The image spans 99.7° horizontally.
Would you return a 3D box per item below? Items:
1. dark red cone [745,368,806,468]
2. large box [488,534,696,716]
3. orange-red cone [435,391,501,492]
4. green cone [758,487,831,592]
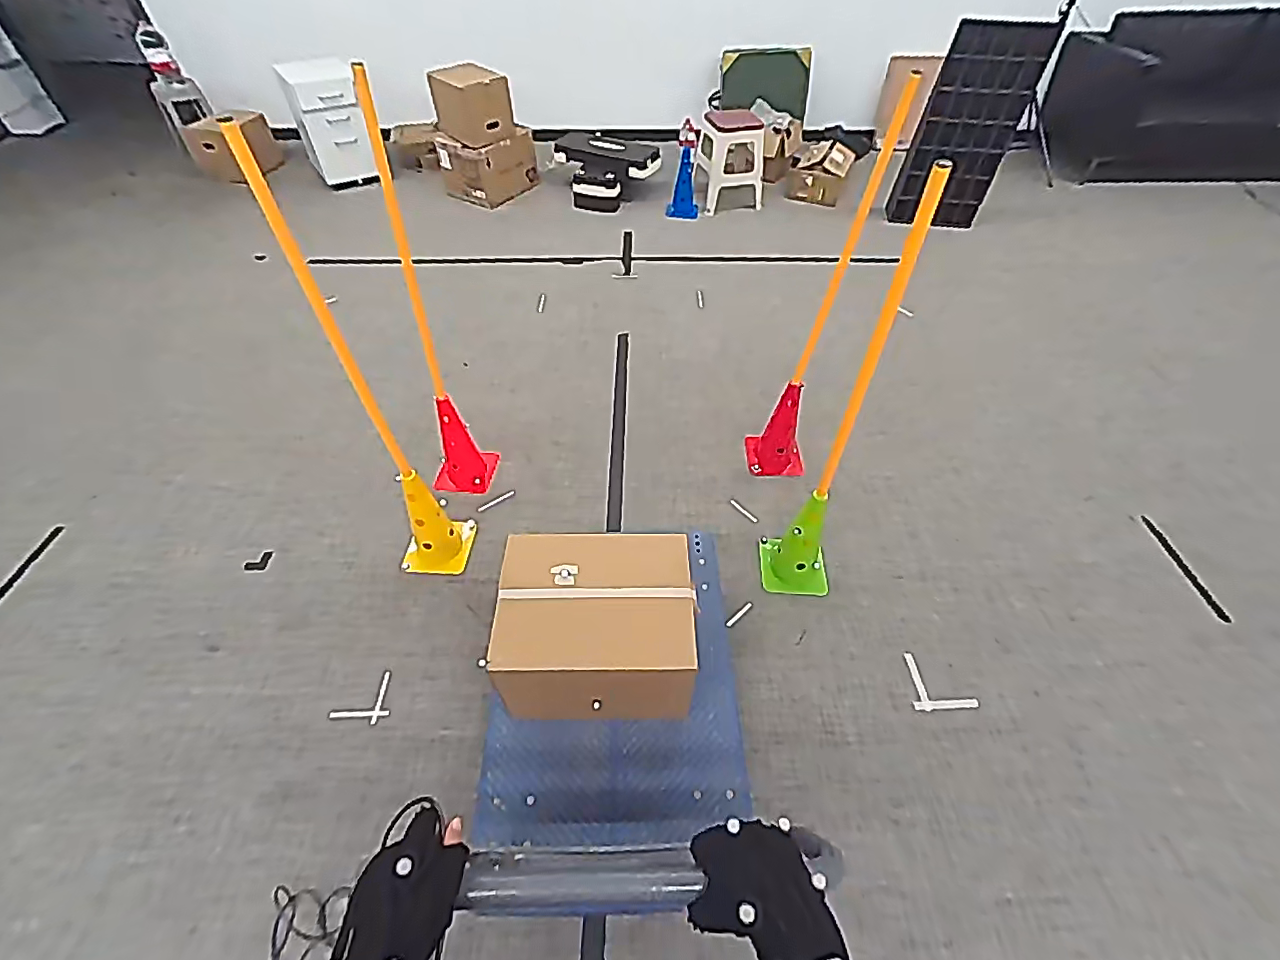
[{"bbox_3d":[0.509,-0.224,1.899,0.201,0.394,0.202,2,50,-2],"label":"dark red cone"},{"bbox_3d":[-0.092,0.338,1.237,0.408,0.320,0.320,0,49,0],"label":"large box"},{"bbox_3d":[-0.622,-0.156,1.848,0.198,0.360,0.199,7,48,4],"label":"orange-red cone"},{"bbox_3d":[0.488,0.154,1.595,0.202,0.368,0.200,4,49,1],"label":"green cone"}]
